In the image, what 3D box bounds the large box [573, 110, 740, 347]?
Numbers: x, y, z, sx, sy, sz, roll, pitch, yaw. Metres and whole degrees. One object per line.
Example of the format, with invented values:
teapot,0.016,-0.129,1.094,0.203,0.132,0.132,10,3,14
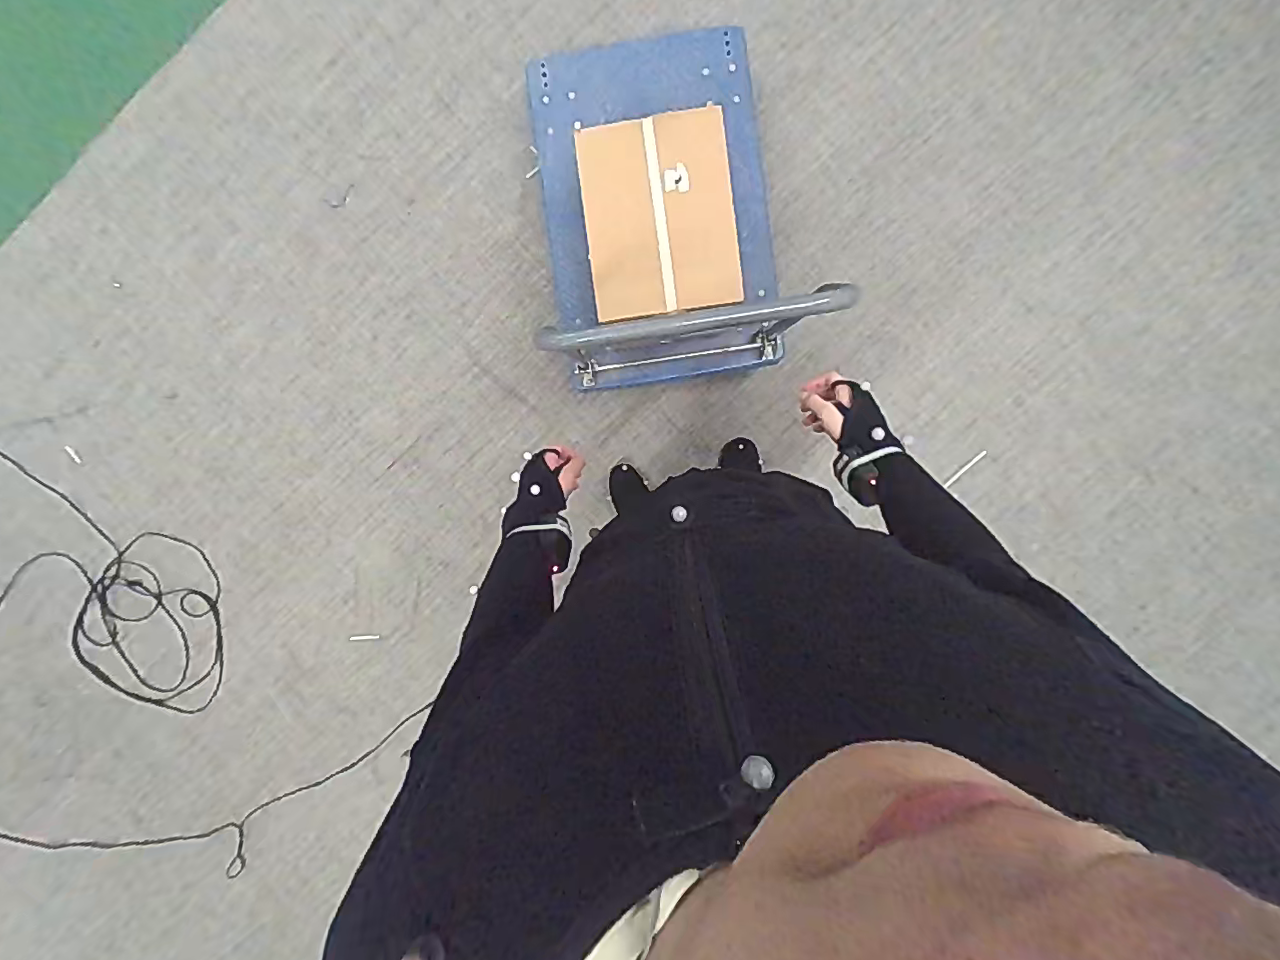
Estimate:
large box,0.044,-0.566,1.295,0.320,0.320,0.408,-7,92,3
